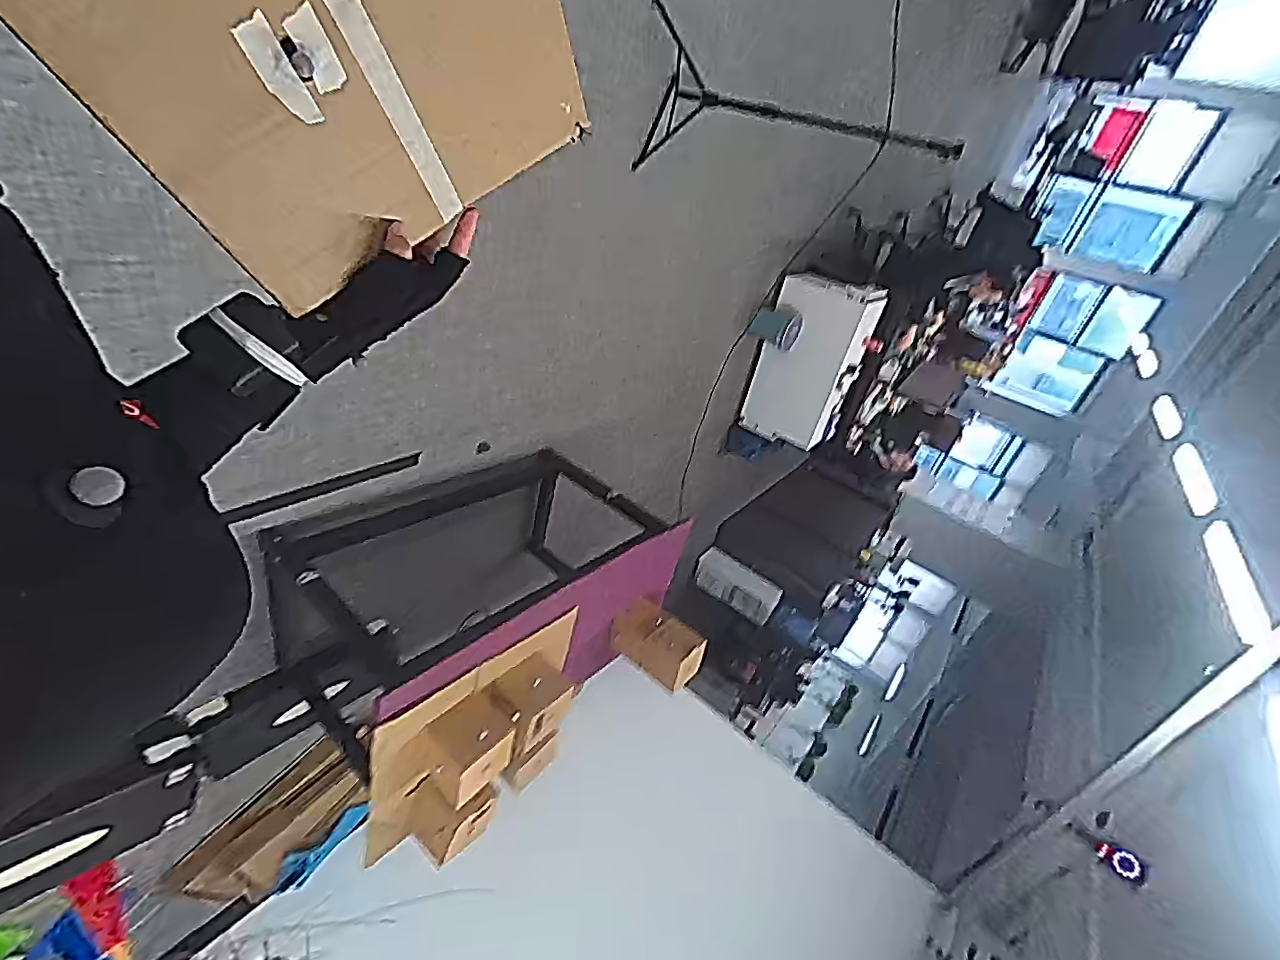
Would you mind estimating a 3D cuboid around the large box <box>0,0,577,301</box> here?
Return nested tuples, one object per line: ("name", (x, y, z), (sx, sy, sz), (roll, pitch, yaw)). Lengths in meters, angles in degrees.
("large box", (-0.303, -0.423, 0.373), (0.320, 0.320, 0.408), (-40, 152, -12))
